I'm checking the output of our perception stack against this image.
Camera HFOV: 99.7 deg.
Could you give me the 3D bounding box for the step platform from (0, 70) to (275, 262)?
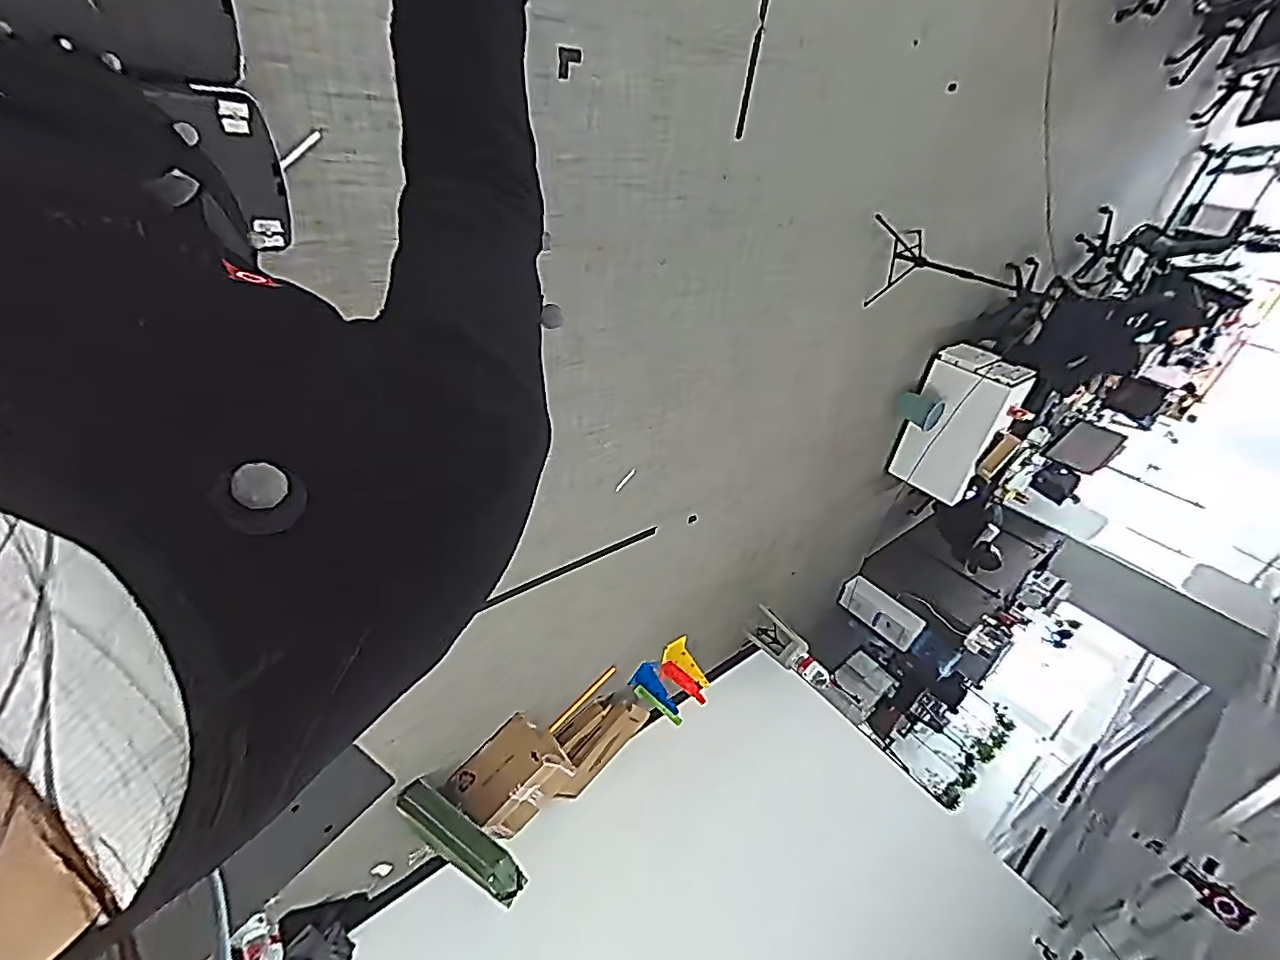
[{"bbox_3d":[-1.063,-0.556,0.960,0.684,0.204,0.286,-19,132,-32],"label":"step platform"}]
